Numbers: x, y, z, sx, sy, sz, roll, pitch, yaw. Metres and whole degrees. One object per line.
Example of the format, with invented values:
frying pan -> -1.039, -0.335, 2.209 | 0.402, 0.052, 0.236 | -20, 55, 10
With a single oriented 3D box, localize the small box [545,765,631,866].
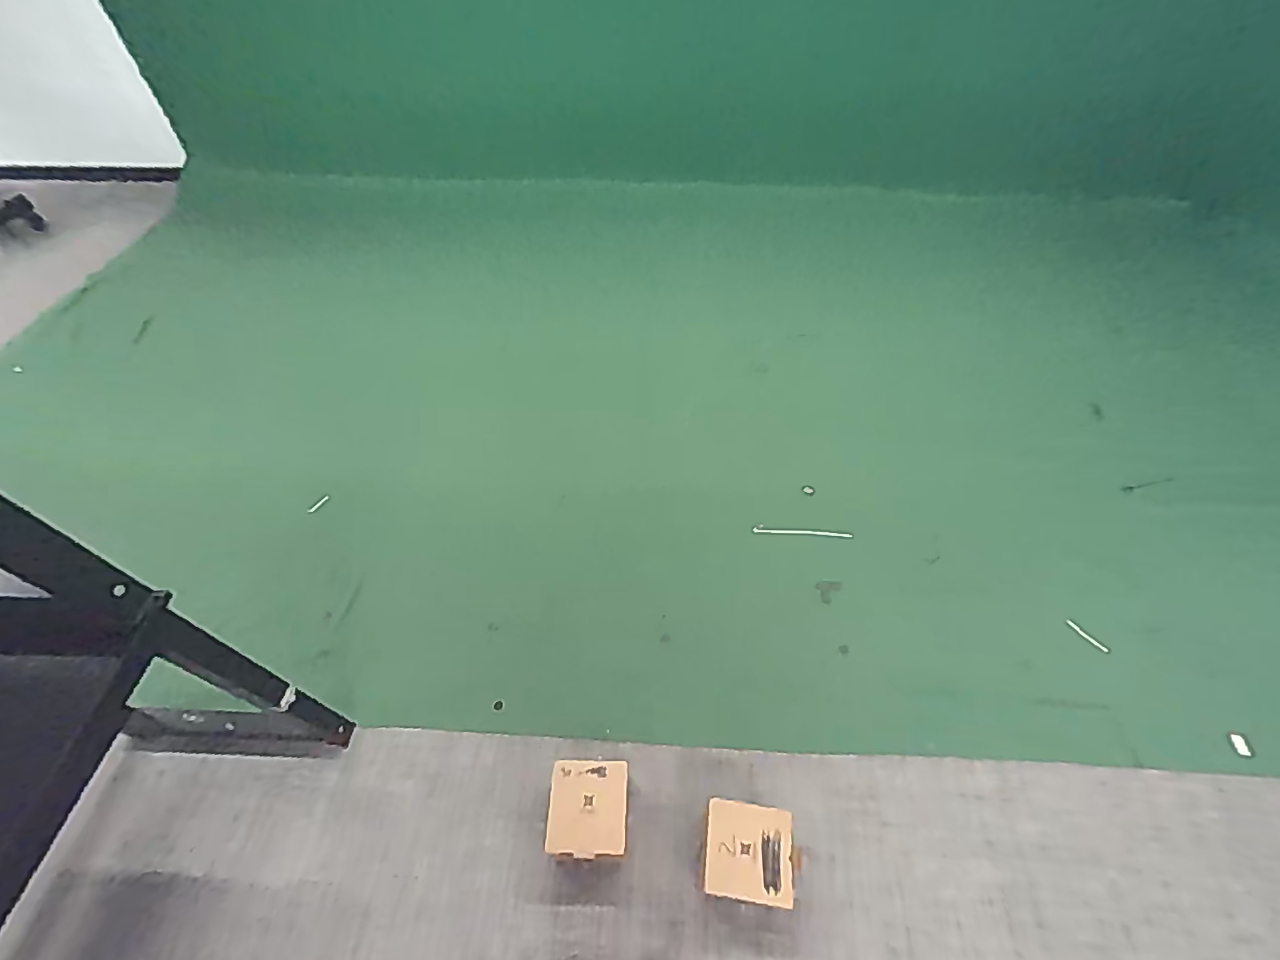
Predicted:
small box -> -0.105, 0.740, 1.190 | 0.168, 0.176, 0.179 | 0, 52, 1
